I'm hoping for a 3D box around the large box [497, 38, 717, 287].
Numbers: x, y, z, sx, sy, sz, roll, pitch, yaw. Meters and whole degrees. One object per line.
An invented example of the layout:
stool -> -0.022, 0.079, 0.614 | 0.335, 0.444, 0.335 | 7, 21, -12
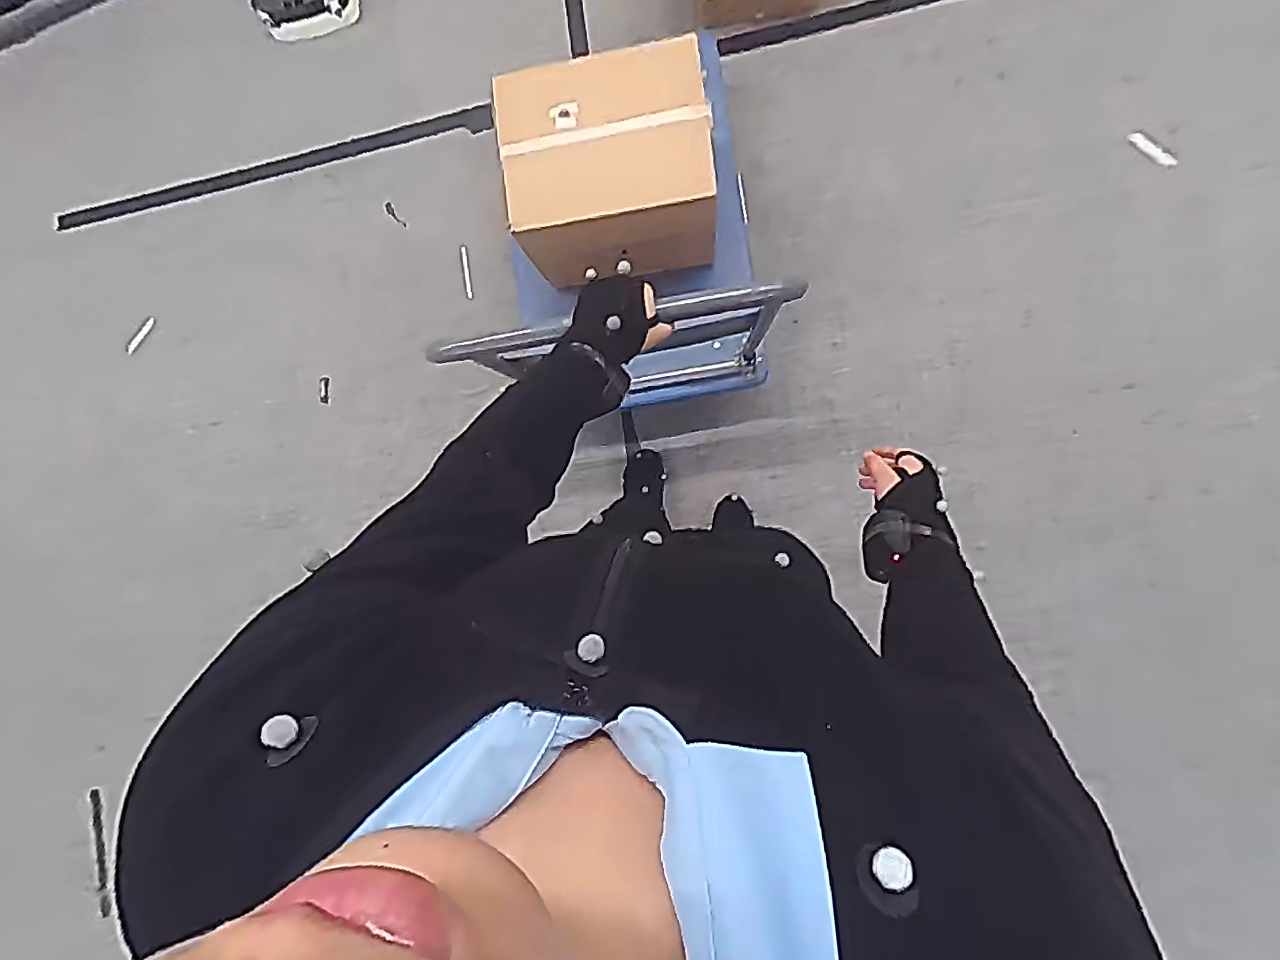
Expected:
large box -> -0.051, -0.658, 1.191 | 0.408, 0.320, 0.320 | -8, 87, 8
